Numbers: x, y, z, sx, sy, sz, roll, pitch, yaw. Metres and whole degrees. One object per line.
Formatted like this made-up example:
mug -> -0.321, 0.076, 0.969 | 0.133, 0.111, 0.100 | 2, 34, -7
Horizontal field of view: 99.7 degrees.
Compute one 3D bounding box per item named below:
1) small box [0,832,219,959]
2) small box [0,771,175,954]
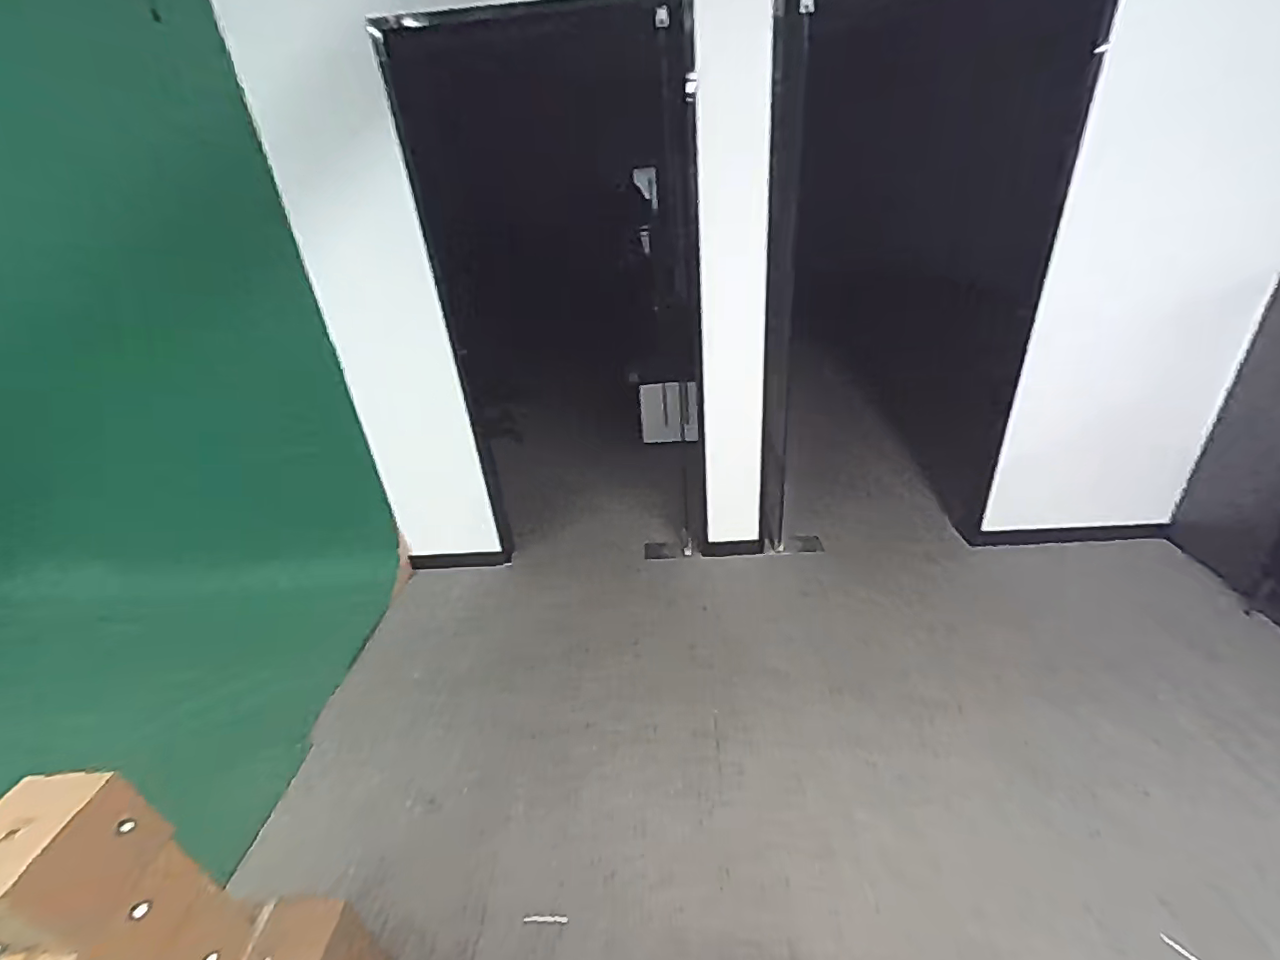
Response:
small box -> -0.854, 0.723, 0.897 | 0.168, 0.176, 0.179 | -7, 29, 5
small box -> -0.872, 0.578, 0.825 | 0.168, 0.176, 0.179 | -6, 30, 7
